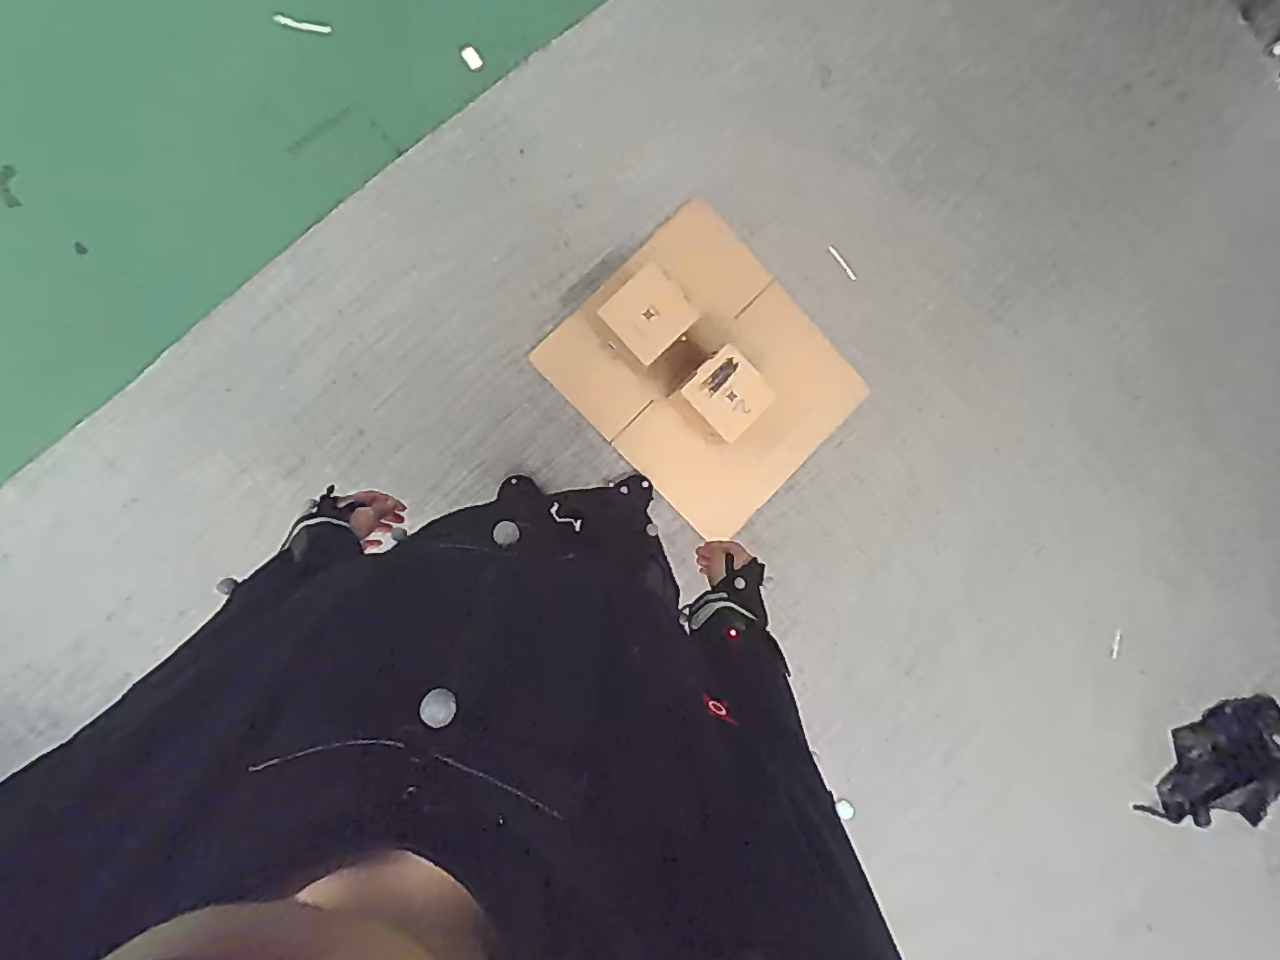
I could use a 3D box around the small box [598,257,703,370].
[{"bbox_3d":[0.015,-0.381,1.270,0.179,0.176,0.168,-44,98,-2],"label":"small box"}]
